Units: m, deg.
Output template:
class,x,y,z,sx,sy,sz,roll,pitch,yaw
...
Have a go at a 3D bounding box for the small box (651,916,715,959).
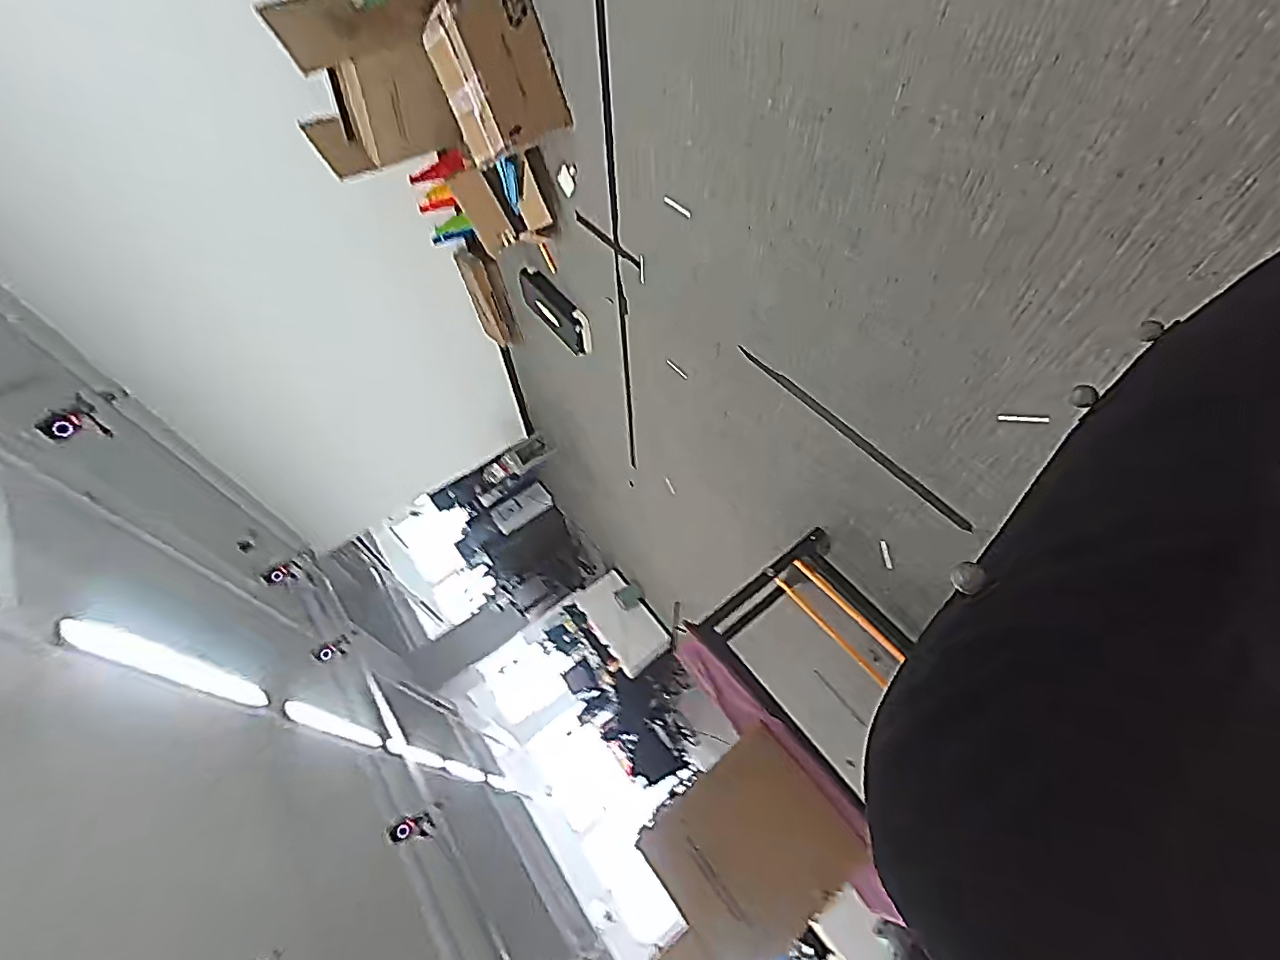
class,x,y,z,sx,sy,sz,roll,pitch,yaw
small box,0.157,1.676,1.890,0.168,0.176,0.179,49,160,25
